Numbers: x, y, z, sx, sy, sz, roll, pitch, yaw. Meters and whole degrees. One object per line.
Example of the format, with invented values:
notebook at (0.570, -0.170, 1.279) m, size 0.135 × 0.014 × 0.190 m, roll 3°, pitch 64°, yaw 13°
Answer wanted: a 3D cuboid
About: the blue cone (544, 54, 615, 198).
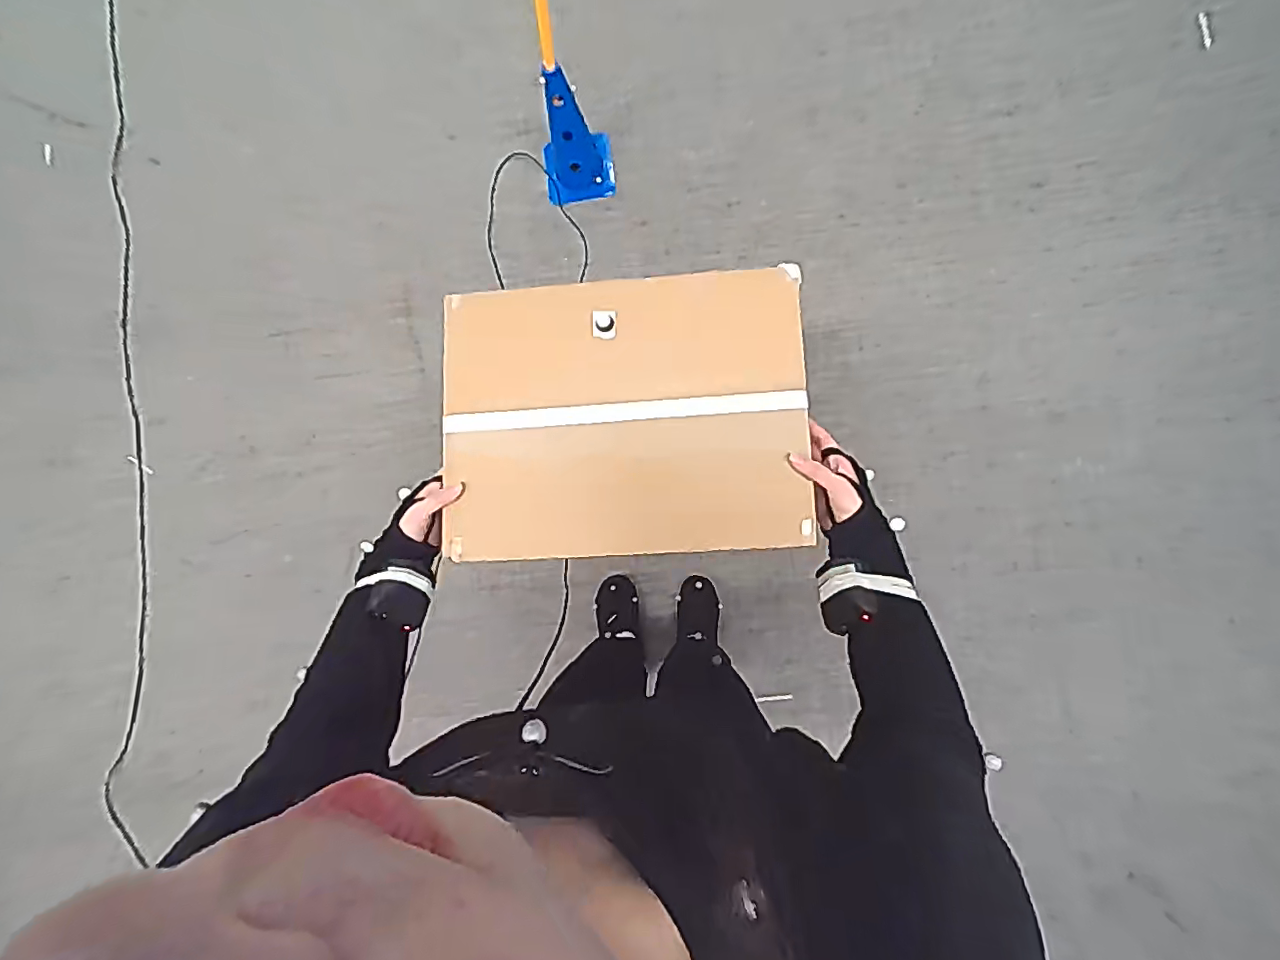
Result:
blue cone at (-0.184, -0.929, 1.392) m, size 0.193 × 0.380 × 0.192 m, roll -10°, pitch 85°, yaw 2°
